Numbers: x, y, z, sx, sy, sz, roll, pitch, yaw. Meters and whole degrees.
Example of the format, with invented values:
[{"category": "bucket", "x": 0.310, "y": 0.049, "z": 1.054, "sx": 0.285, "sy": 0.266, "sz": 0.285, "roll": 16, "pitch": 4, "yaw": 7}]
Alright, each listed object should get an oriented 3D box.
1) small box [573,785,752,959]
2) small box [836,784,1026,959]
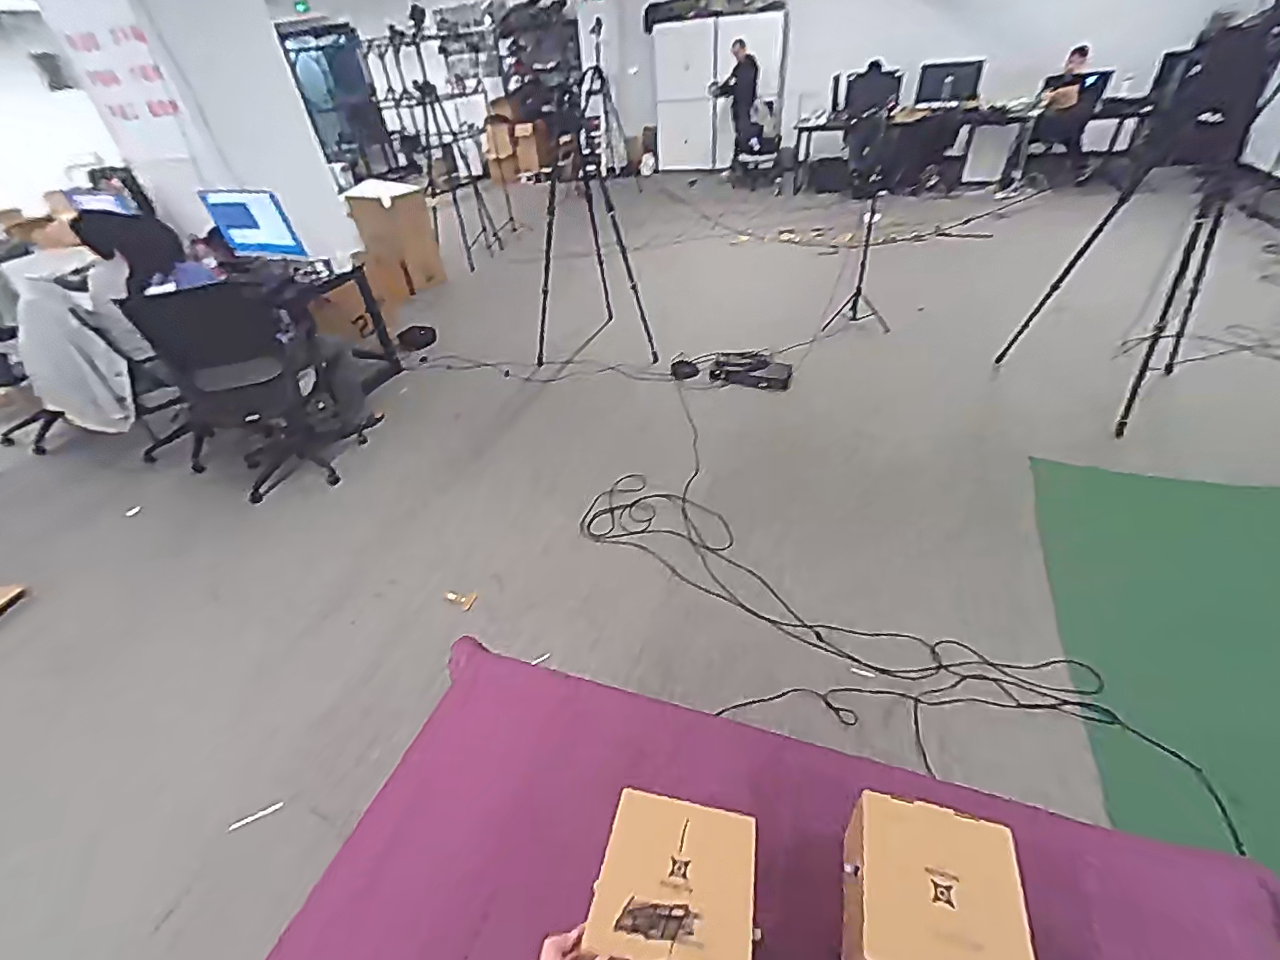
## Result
[{"category": "small box", "x": 0.031, "y": 0.496, "z": 0.614, "sx": 0.168, "sy": 0.176, "sz": 0.179, "roll": 8, "pitch": 26, "yaw": 11}, {"category": "small box", "x": 0.338, "y": 0.516, "z": 0.658, "sx": 0.168, "sy": 0.176, "sz": 0.179, "roll": 8, "pitch": 42, "yaw": 17}]
